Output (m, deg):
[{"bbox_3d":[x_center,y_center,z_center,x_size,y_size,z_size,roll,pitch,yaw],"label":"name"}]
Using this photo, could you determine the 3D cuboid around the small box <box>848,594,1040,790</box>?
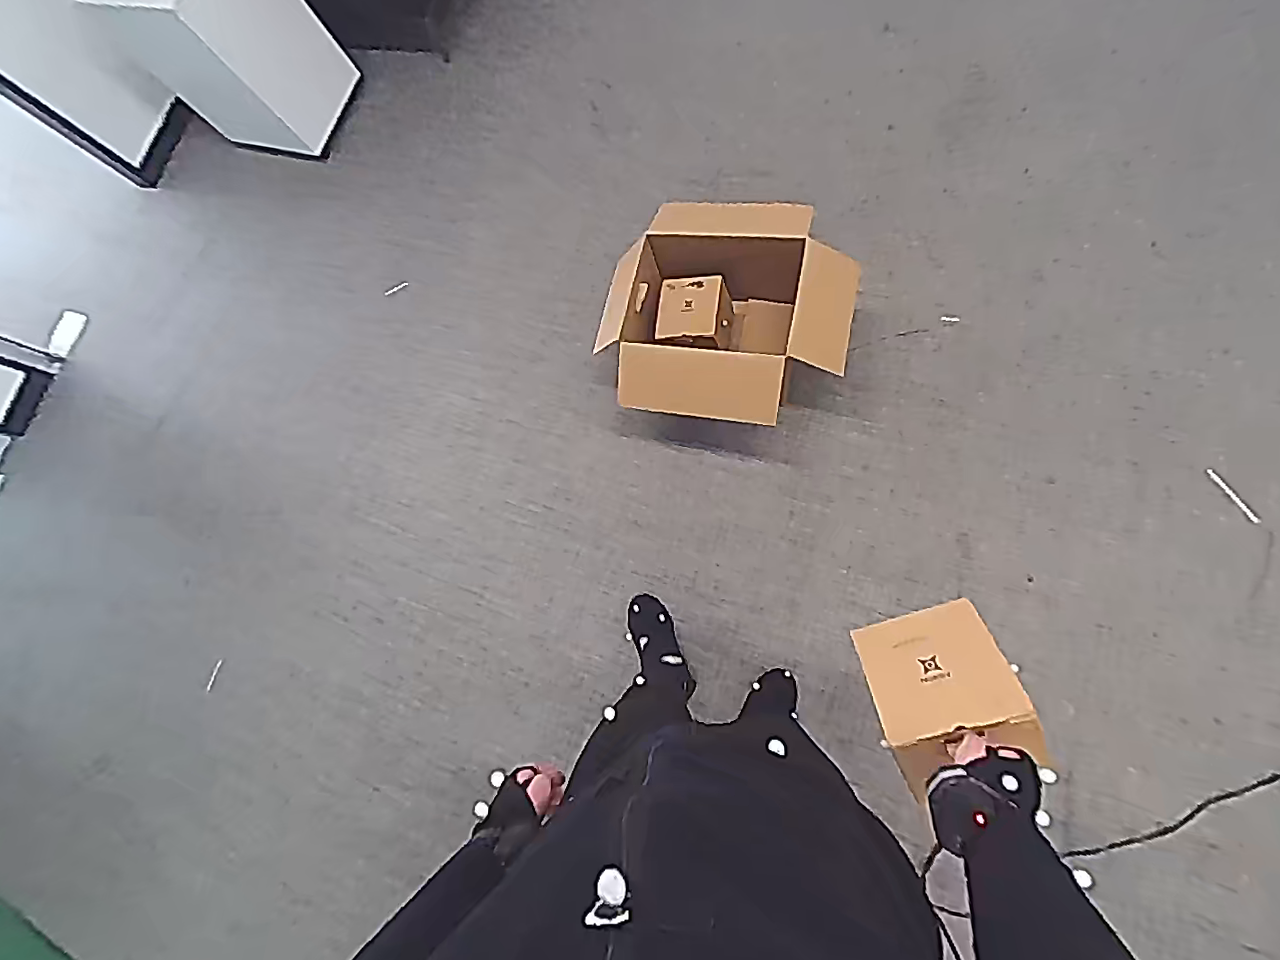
[{"bbox_3d":[0.405,0.291,0.730,0.168,0.176,0.179,-21,30,17],"label":"small box"}]
